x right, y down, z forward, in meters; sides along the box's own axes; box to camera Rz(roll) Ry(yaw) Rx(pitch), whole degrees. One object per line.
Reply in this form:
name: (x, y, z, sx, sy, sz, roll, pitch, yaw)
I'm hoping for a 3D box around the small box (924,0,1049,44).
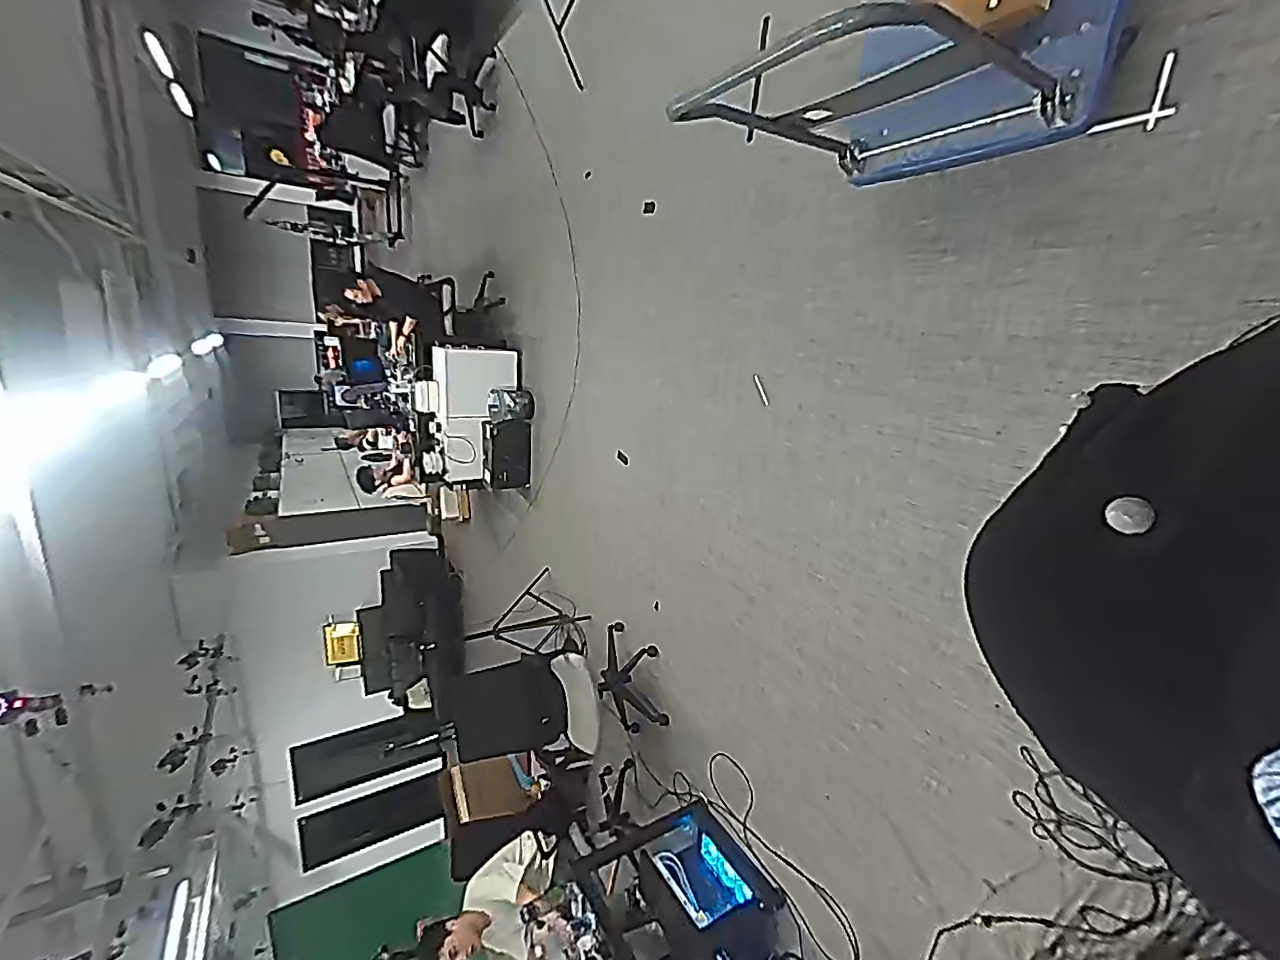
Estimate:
small box: (0.725, -1.048, 1.111, 0.179, 0.176, 0.168, 19, 110, 55)
